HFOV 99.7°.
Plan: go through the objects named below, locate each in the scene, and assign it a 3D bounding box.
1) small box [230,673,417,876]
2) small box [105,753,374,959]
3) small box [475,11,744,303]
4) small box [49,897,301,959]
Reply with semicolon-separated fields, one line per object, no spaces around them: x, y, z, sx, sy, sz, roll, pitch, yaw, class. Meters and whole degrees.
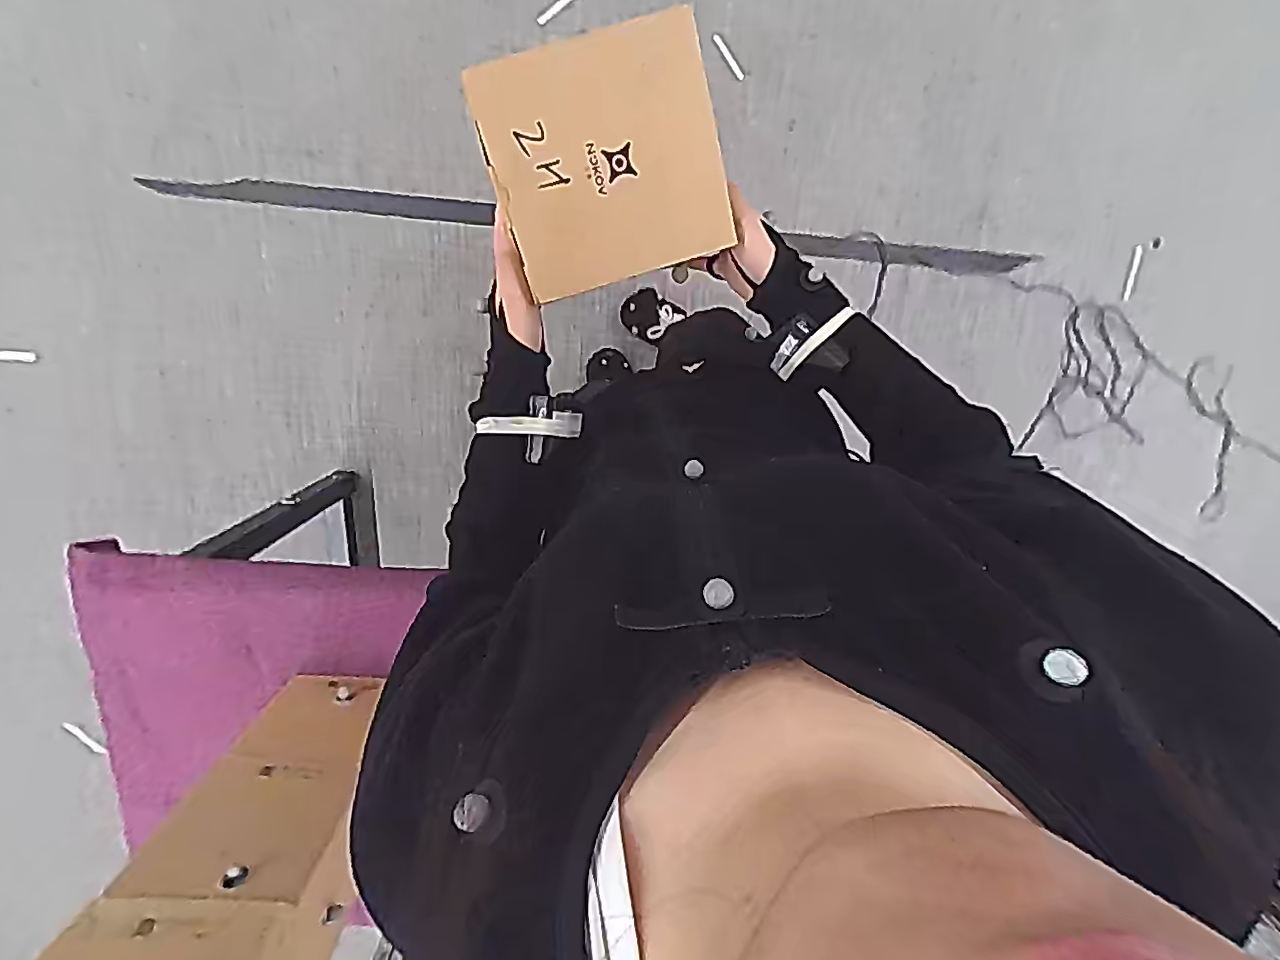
-0.411;0.389;0.731;0.168;0.176;0.179;5;104;-6;small box
-0.398;0.426;0.572;0.168;0.176;0.179;7;105;-7;small box
-0.027;-0.267;0.485;0.179;0.176;0.168;-16;111;-1;small box
-0.386;0.461;0.412;0.168;0.176;0.179;6;105;-7;small box
